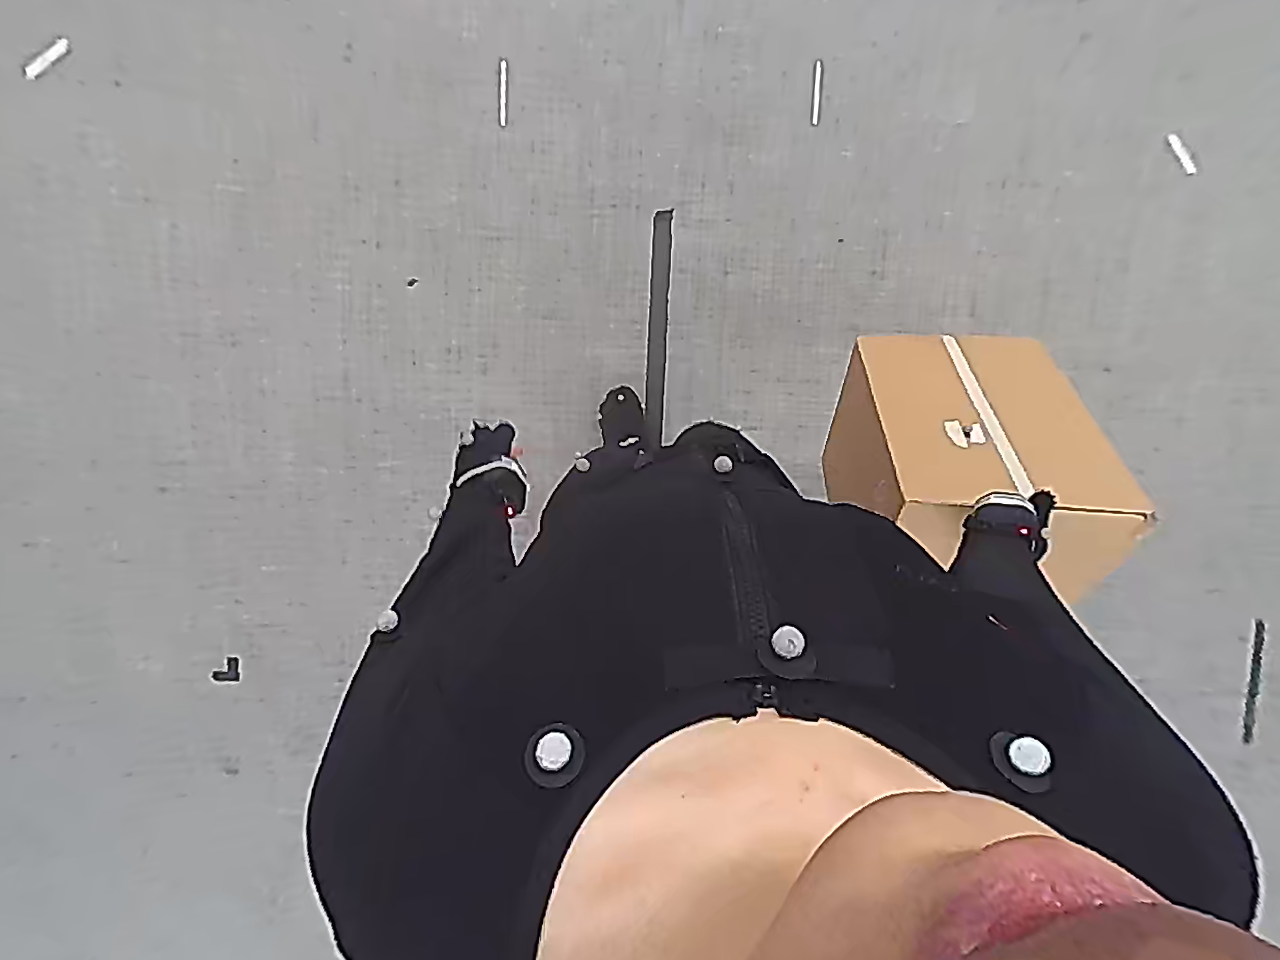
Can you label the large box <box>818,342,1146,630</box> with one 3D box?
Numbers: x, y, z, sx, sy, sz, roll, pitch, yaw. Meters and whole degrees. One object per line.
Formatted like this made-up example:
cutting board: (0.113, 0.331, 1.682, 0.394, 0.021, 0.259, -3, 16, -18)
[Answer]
large box: (0.528, 0.002, 0.956, 0.320, 0.408, 0.320, 3, 137, 5)
